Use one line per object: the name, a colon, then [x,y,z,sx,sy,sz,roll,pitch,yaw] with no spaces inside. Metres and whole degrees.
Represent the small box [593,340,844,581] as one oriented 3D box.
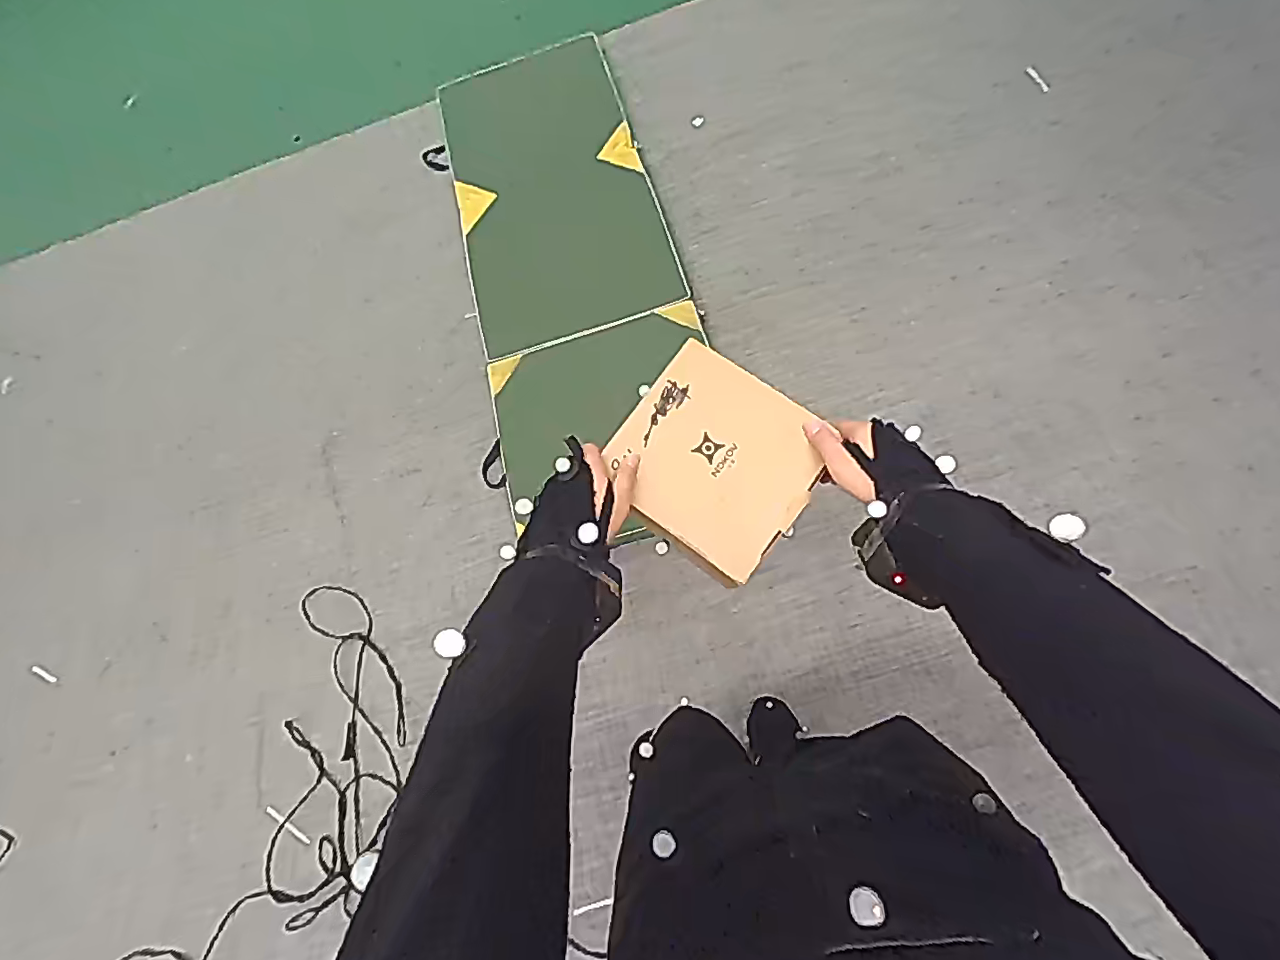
small box: [0.077,-0.009,0.578,0.179,0.176,0.168,36,83,11]
